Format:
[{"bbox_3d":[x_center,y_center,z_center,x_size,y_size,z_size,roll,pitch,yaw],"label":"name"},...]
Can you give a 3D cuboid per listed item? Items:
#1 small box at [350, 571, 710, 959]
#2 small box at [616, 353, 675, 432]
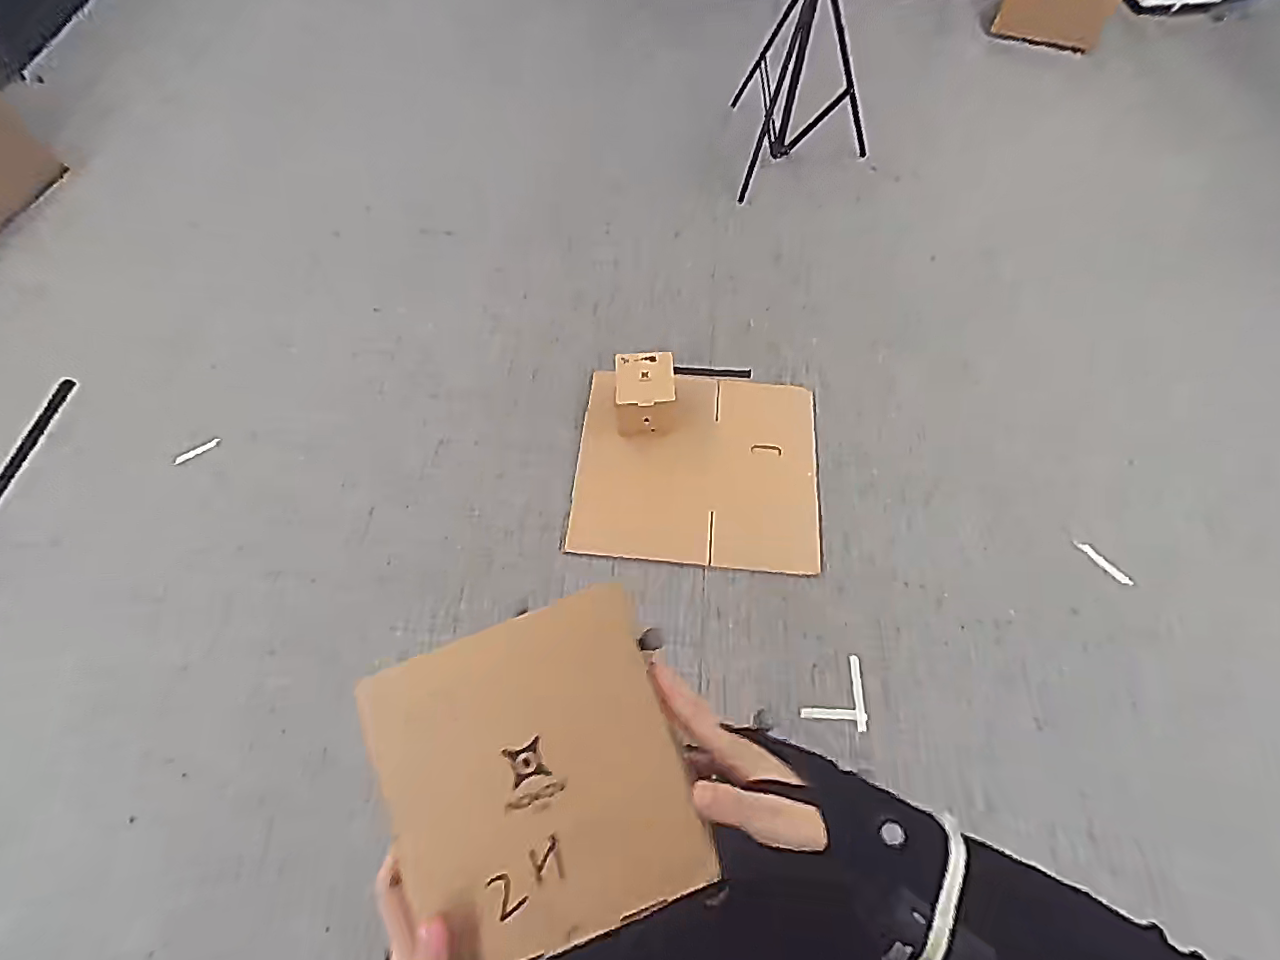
[{"bbox_3d":[-0.067,0.180,0.387,0.168,0.176,0.179,-22,78,-4],"label":"small box"},{"bbox_3d":[0.015,-0.251,1.585,0.168,0.176,0.179,-2,65,0],"label":"small box"}]
